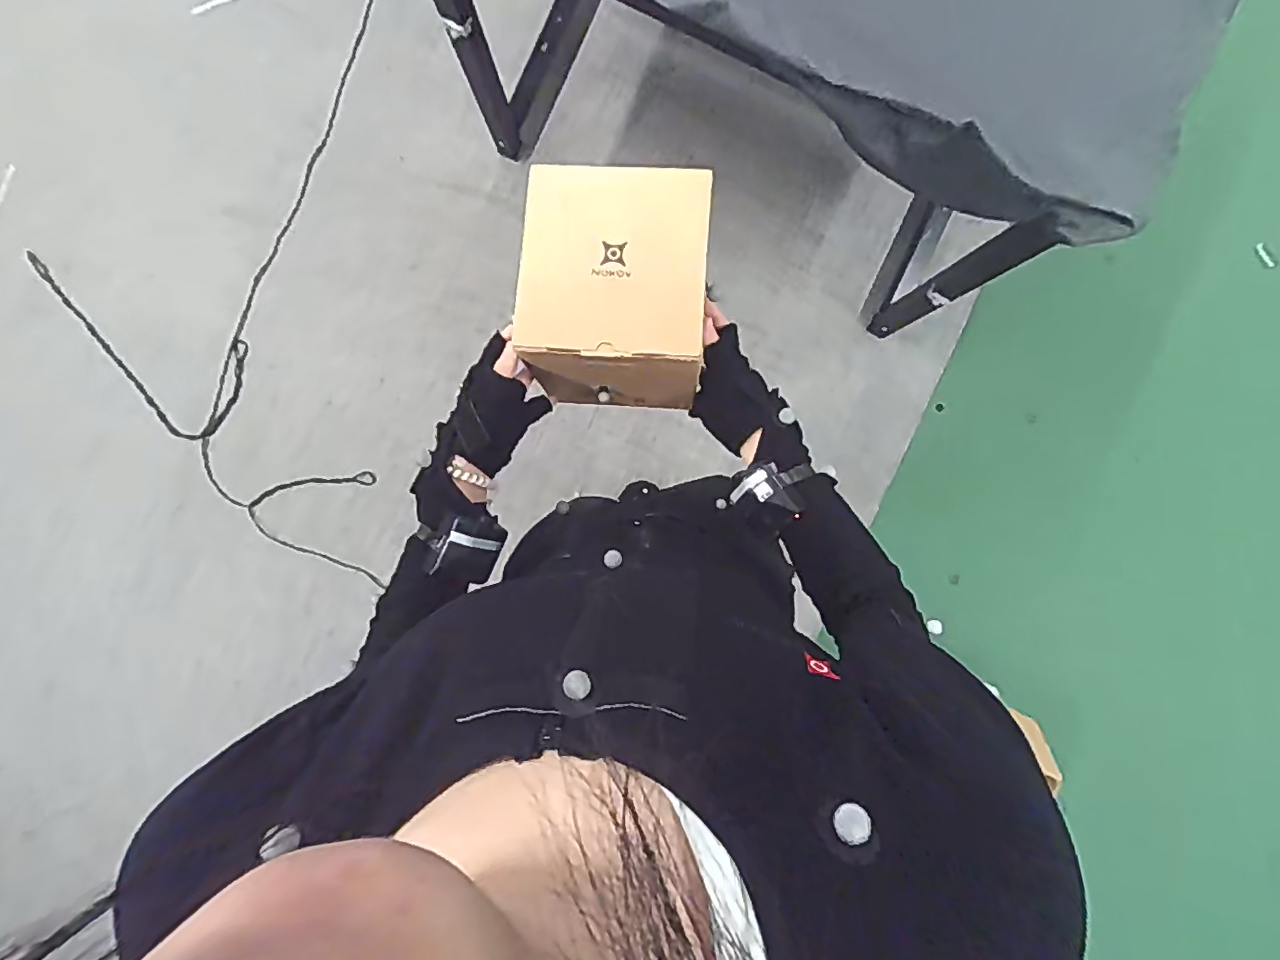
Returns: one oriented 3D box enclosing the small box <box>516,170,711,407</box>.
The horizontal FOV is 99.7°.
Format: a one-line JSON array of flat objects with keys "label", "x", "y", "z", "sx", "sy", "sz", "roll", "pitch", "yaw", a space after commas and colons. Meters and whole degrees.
[{"label": "small box", "x": -0.021, "y": -0.187, "z": 0.568, "sx": 0.168, "sy": 0.176, "sz": 0.179, "roll": 4, "pitch": 84, "yaw": 3}]
